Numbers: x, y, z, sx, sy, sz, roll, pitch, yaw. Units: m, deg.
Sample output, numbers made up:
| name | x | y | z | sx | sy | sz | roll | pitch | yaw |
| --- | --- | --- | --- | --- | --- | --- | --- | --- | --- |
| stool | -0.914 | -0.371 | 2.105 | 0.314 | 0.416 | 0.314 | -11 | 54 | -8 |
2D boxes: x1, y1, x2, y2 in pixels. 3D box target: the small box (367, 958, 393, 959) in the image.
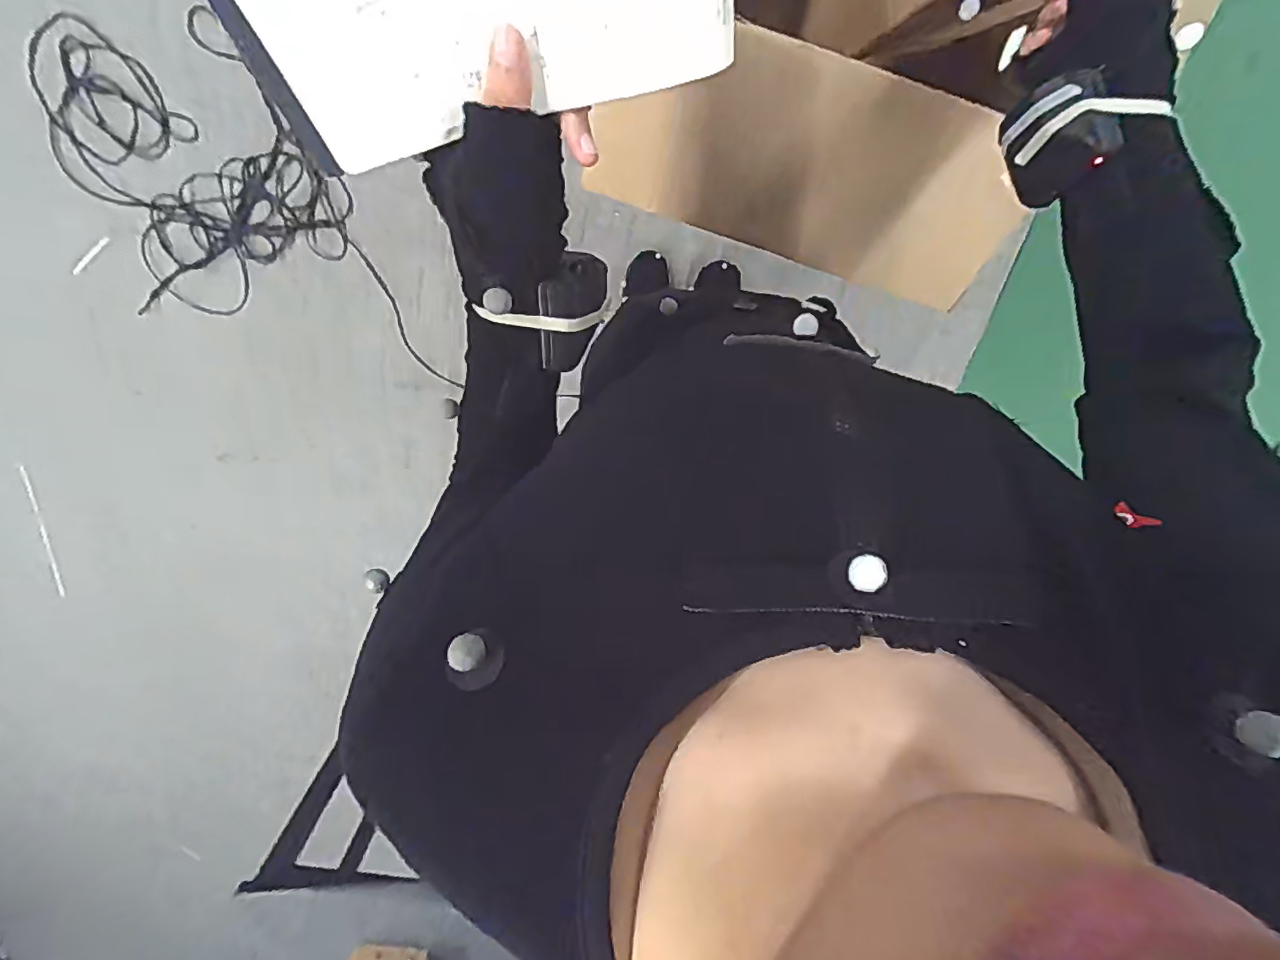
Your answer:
| name | x | y | z | sx | sy | sz | roll | pitch | yaw |
| --- | --- | --- | --- | --- | --- | --- | --- | --- | --- |
| small box | -0.561 | 1.205 | 1.198 | 0.168 | 0.176 | 0.179 | 8 | 114 | -4 |
